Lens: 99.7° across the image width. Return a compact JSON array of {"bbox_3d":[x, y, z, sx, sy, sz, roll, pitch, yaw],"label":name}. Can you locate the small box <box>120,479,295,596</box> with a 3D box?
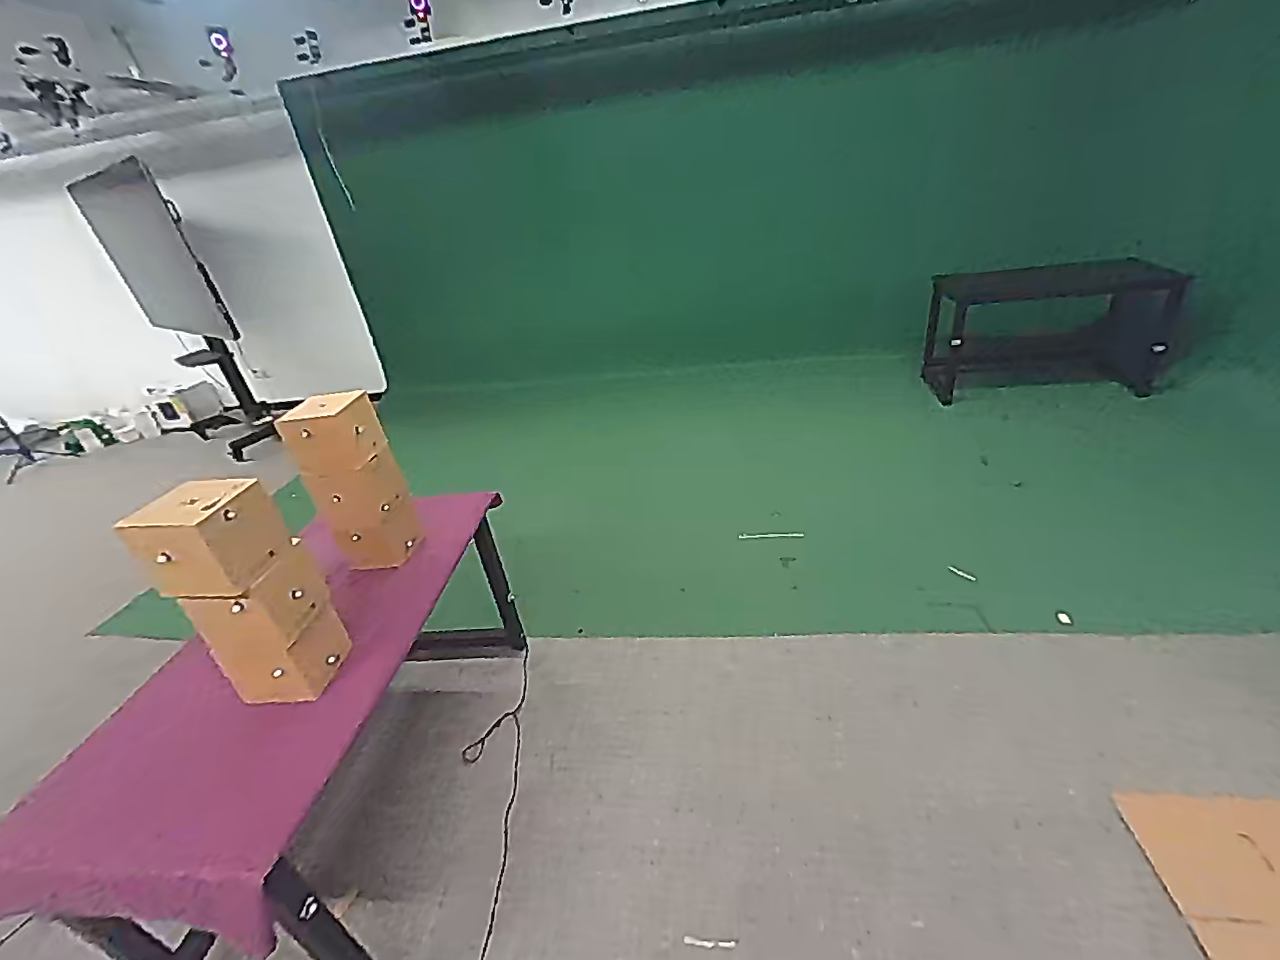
[{"bbox_3d":[-0.838,0.114,1.067,0.179,0.176,0.168,-3,31,9],"label":"small box"}]

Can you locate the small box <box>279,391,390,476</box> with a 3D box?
[{"bbox_3d":[-0.825,-0.126,1.485,0.179,0.176,0.168,-6,32,9],"label":"small box"}]

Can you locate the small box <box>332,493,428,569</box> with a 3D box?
[{"bbox_3d":[-0.781,0.156,1.641,0.179,0.176,0.168,-3,32,10],"label":"small box"}]

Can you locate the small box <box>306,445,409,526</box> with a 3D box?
[{"bbox_3d":[-0.801,0.017,1.557,0.179,0.176,0.168,-5,31,10],"label":"small box"}]

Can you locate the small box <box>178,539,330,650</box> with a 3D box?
[{"bbox_3d":[-0.812,0.247,1.162,0.179,0.176,0.168,-5,29,6],"label":"small box"}]
